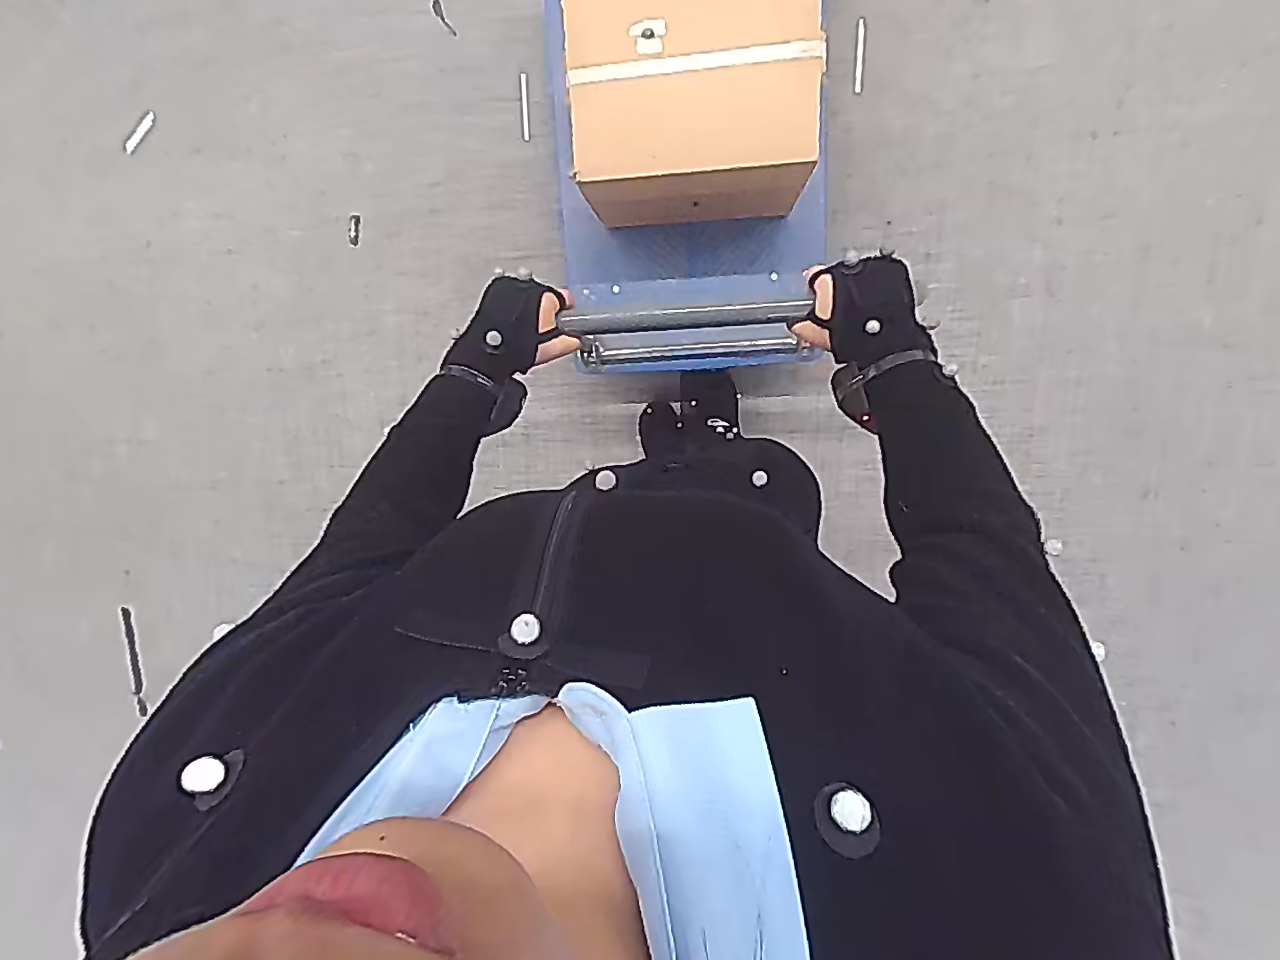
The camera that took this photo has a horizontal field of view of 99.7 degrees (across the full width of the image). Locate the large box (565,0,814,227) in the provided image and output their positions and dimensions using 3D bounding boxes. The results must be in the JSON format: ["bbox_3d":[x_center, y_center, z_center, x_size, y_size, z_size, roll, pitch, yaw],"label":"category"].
[{"bbox_3d":[0.101,-0.698,1.034,0.408,0.320,0.320,-1,100,8],"label":"large box"}]
